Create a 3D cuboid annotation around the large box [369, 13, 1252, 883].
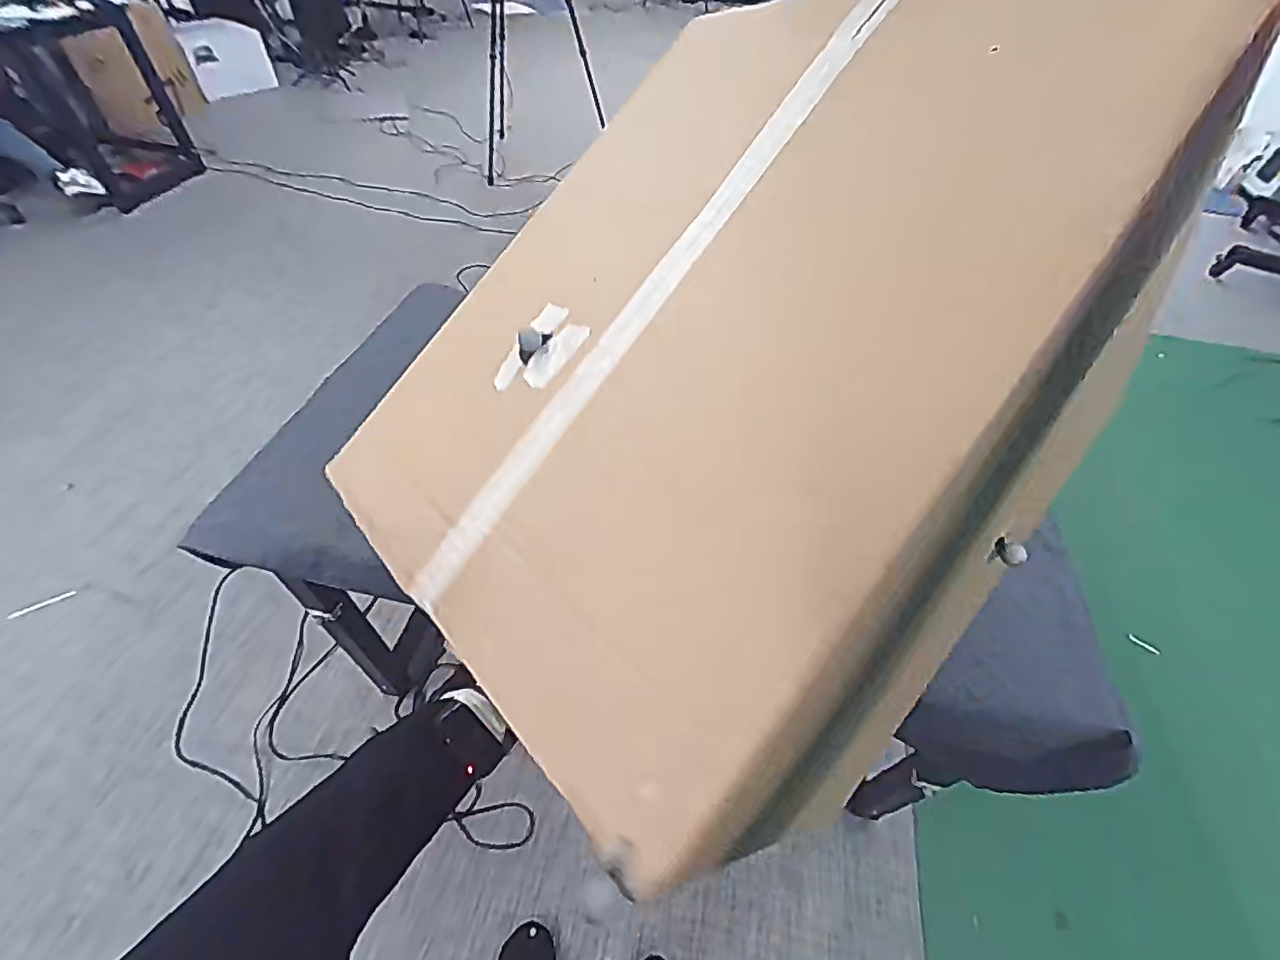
[{"bbox_3d":[0.100,-0.031,0.407,0.320,0.320,0.408,32,85,37],"label":"large box"}]
